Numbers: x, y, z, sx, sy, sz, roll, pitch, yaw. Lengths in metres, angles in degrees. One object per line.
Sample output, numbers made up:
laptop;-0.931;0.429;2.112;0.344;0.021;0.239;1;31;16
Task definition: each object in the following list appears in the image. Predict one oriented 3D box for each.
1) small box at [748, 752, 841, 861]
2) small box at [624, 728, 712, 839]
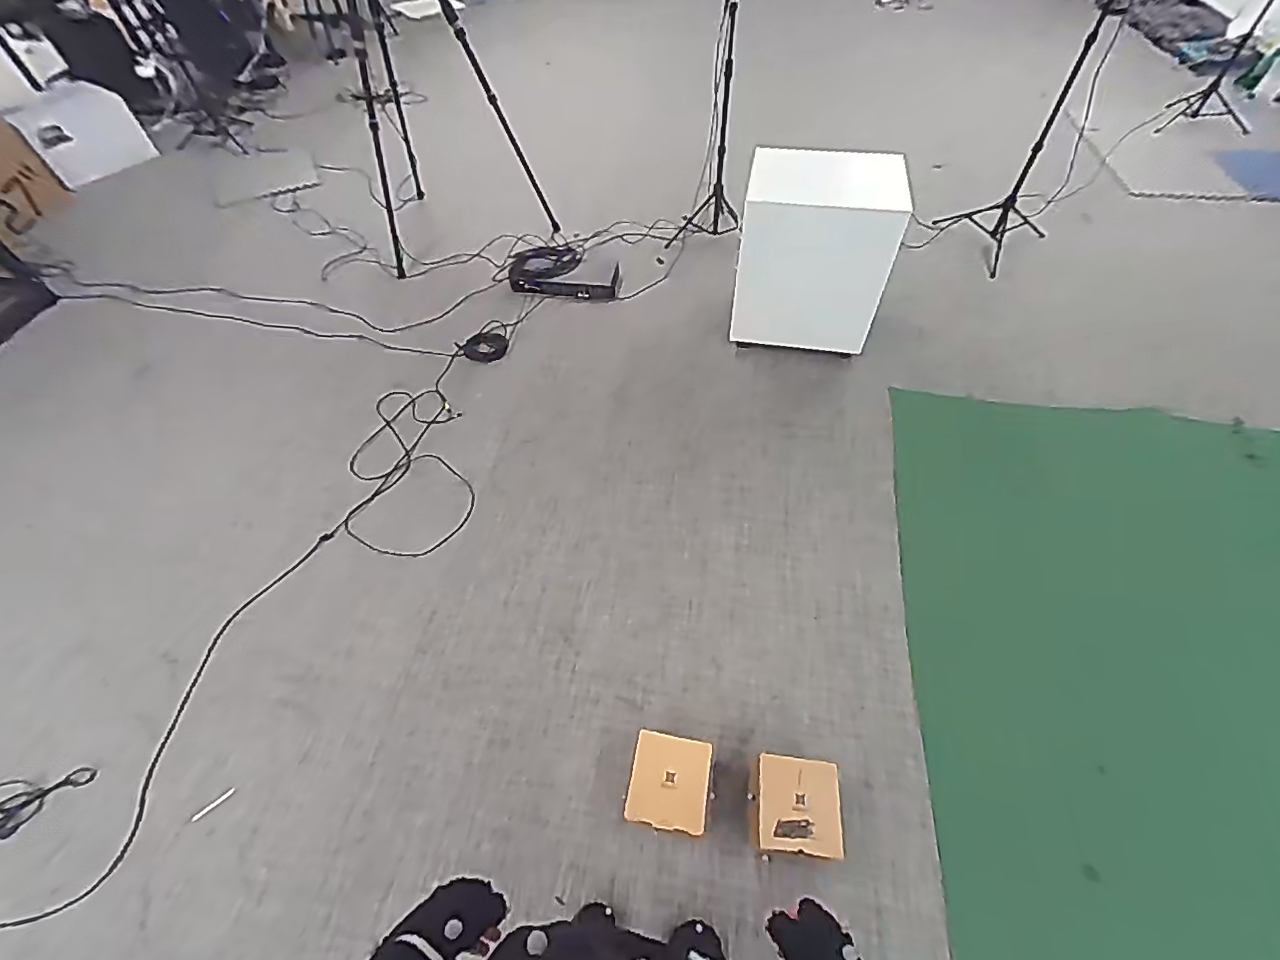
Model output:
small box;0.328;0.713;1.176;0.168;0.176;0.179;5;53;6
small box;0.064;0.682;1.212;0.168;0.176;0.179;8;55;8
